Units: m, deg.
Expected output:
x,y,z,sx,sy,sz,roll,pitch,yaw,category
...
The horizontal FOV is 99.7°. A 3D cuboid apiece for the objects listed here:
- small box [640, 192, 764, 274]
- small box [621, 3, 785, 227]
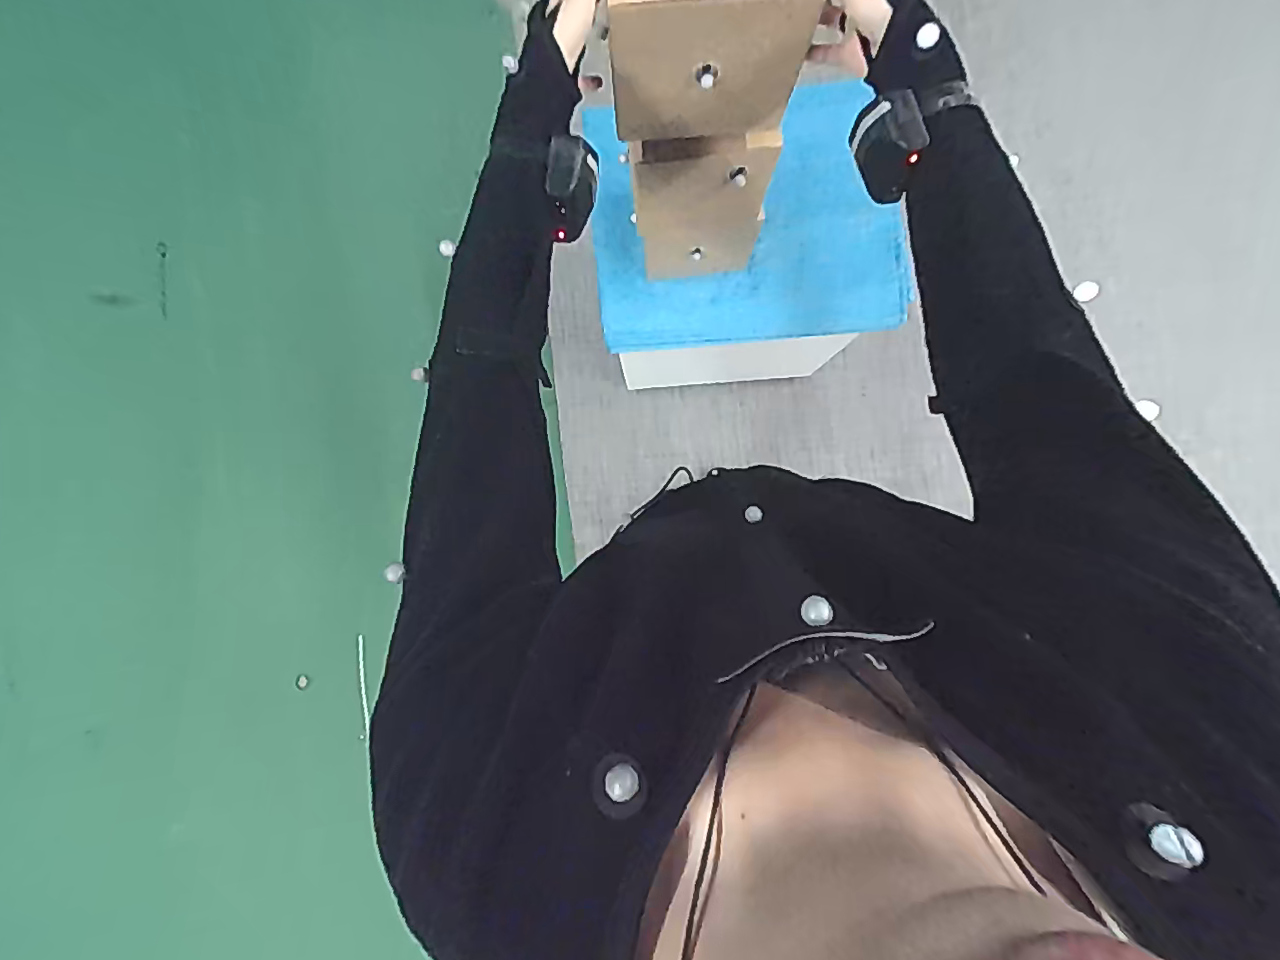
x,y,z,sx,sy,sz,roll,pitch,yaw,category
0.086,-0.444,0.854,0.179,0.176,0.168,-6,87,2,small box
0.072,-0.448,0.690,0.179,0.176,0.168,-6,87,1,small box
